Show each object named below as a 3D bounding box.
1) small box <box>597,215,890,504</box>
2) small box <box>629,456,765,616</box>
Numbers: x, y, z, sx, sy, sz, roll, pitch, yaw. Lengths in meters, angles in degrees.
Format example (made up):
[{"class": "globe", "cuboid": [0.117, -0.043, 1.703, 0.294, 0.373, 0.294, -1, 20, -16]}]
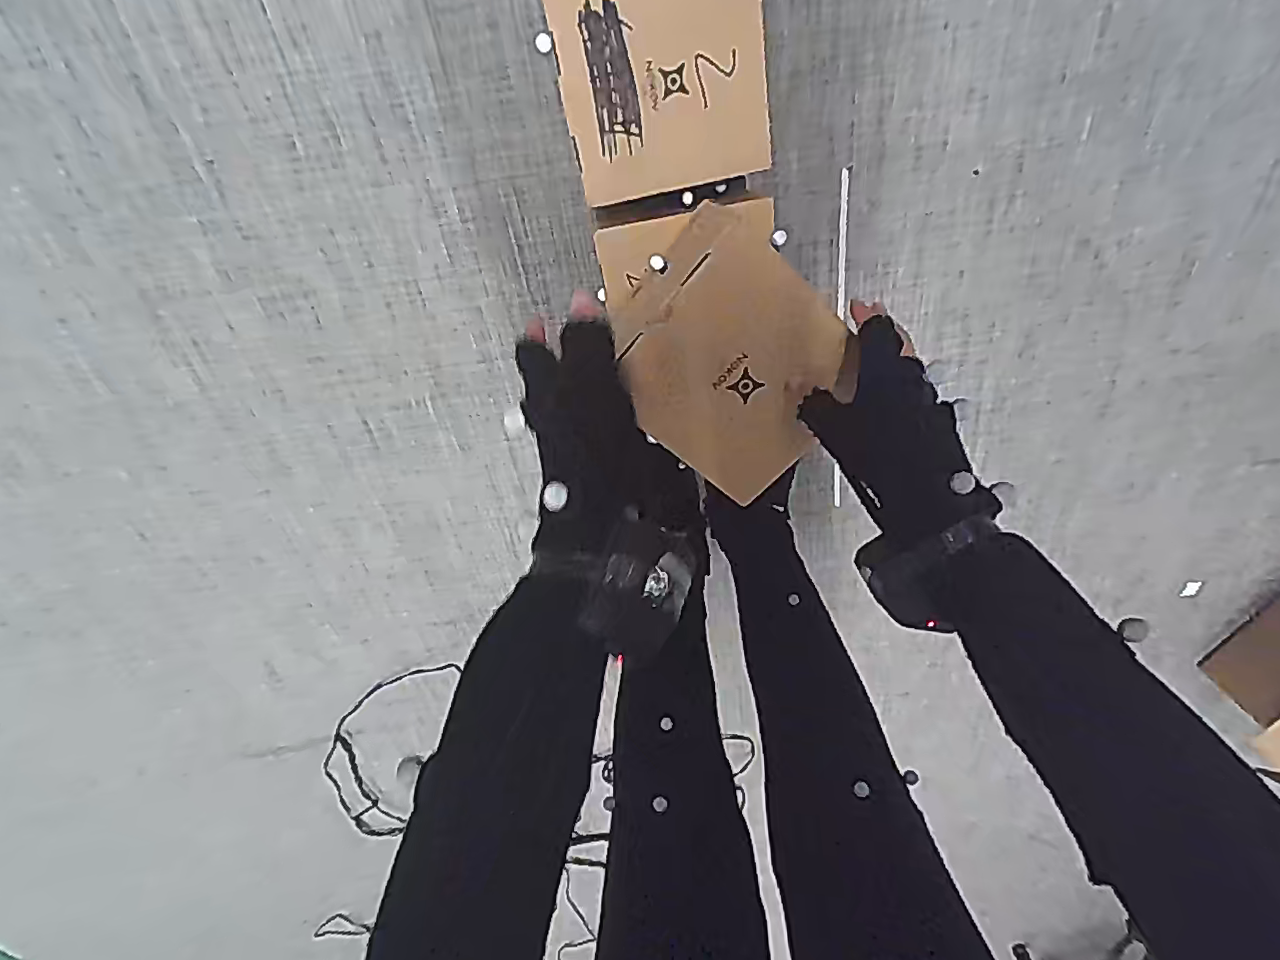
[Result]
[{"class": "small box", "cuboid": [0.083, -0.118, 0.496, 0.179, 0.176, 0.168, 37, 114, -18]}, {"class": "small box", "cuboid": [0.081, 0.077, 0.831, 0.168, 0.176, 0.179, -9, 122, -6]}]
